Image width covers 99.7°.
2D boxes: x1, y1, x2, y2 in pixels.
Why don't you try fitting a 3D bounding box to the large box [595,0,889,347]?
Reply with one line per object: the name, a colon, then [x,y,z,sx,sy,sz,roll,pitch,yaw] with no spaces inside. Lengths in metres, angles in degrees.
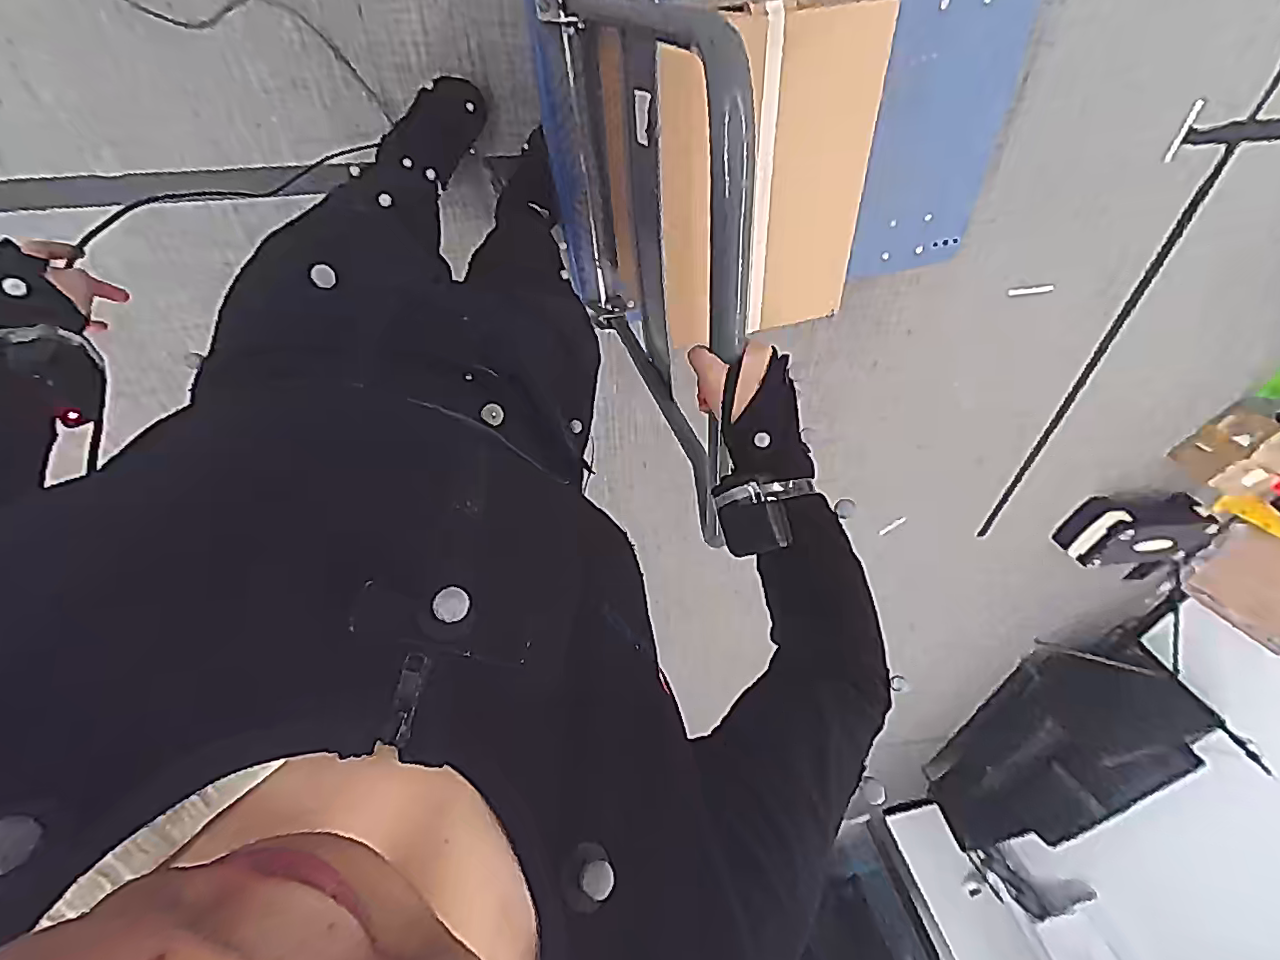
large box: [0.131,-0.490,0.861,0.320,0.320,0.408,-13,136,-6]
